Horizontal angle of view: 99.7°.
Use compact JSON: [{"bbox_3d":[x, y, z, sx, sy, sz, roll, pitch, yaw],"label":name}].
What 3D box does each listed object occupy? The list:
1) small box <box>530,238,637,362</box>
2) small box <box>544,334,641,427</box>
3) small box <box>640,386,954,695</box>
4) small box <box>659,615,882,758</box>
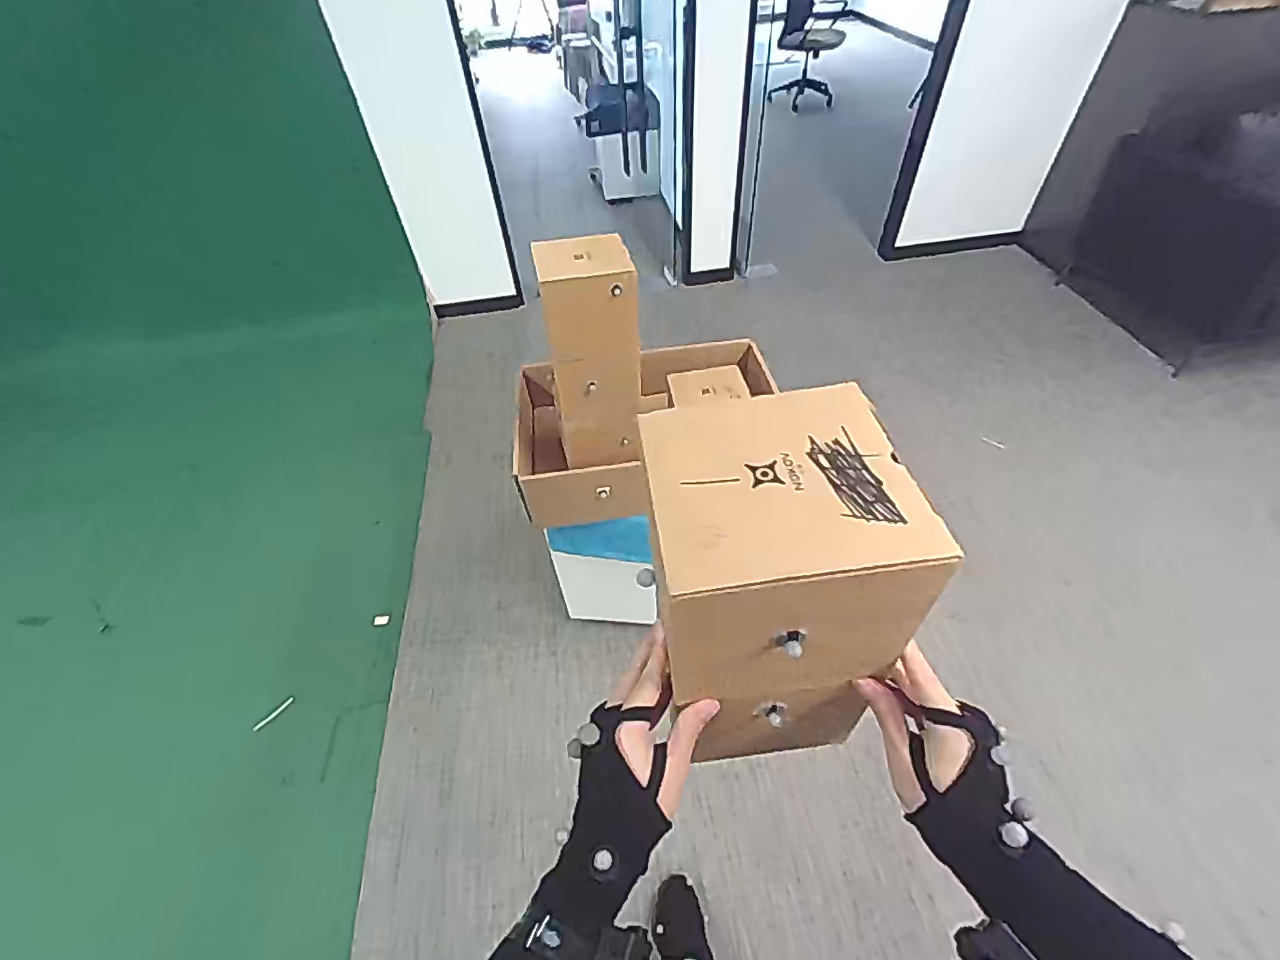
[{"bbox_3d":[-0.107,-0.345,1.048,0.179,0.176,0.168,-10,47,-9],"label":"small box"},{"bbox_3d":[-0.100,-0.232,1.166,0.179,0.176,0.168,-11,48,-7],"label":"small box"},{"bbox_3d":[0.098,0.051,0.427,0.179,0.176,0.168,-8,47,-1],"label":"small box"},{"bbox_3d":[0.110,0.163,0.546,0.179,0.176,0.168,-6,46,-1],"label":"small box"}]
